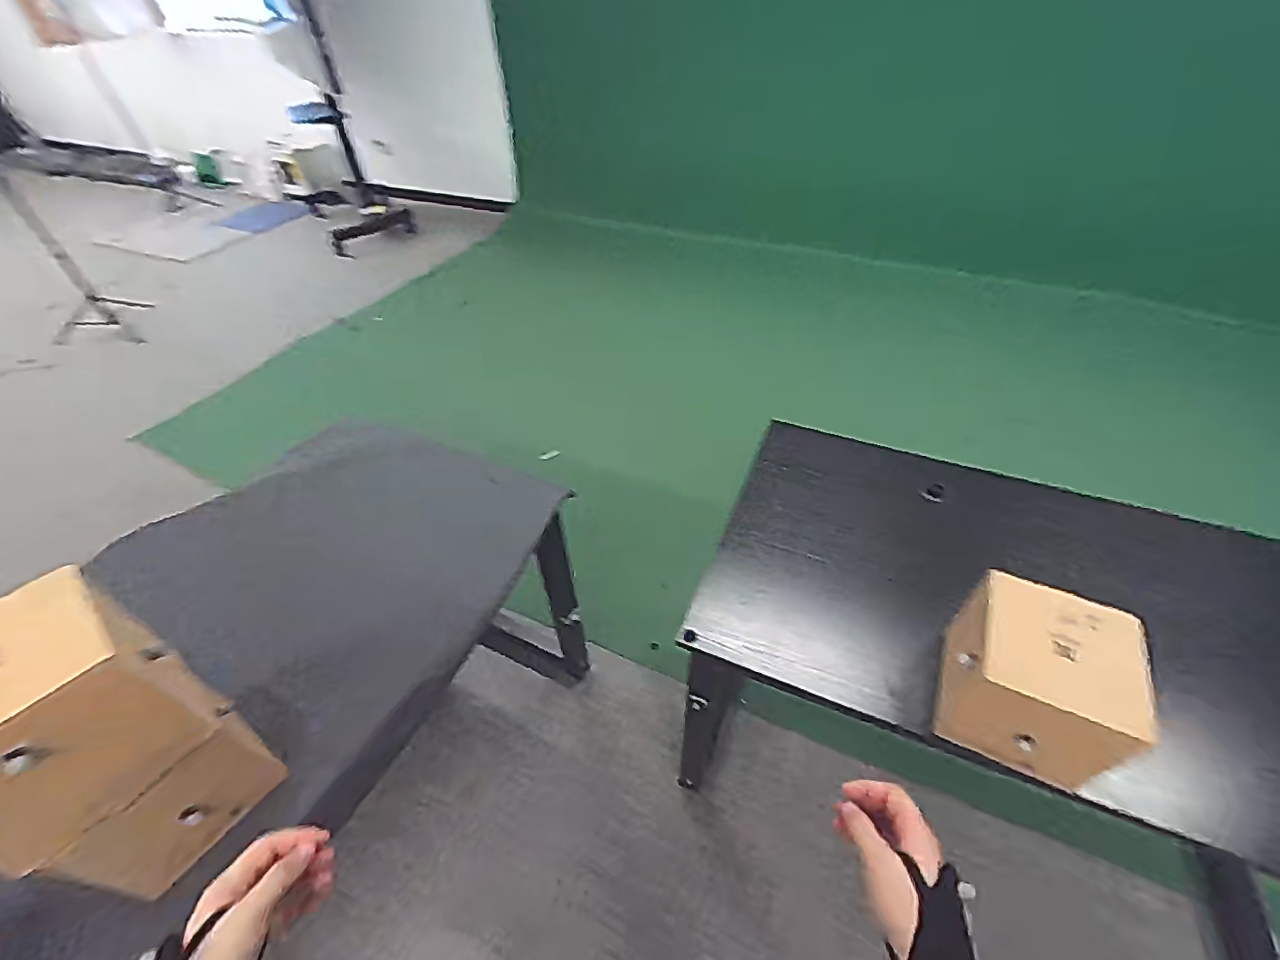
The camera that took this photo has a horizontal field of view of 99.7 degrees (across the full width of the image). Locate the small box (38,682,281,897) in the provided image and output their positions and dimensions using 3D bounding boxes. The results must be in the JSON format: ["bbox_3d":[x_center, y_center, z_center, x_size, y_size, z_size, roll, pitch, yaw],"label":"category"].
[{"bbox_3d":[-0.580,0.354,0.644,0.179,0.176,0.168,24,51,25],"label":"small box"}]

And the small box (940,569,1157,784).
[{"bbox_3d":[0.508,0.254,0.698,0.168,0.176,0.179,19,48,19],"label":"small box"}]

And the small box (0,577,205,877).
[{"bbox_3d":[-0.578,0.237,0.529,0.168,0.176,0.179,28,53,29],"label":"small box"}]
